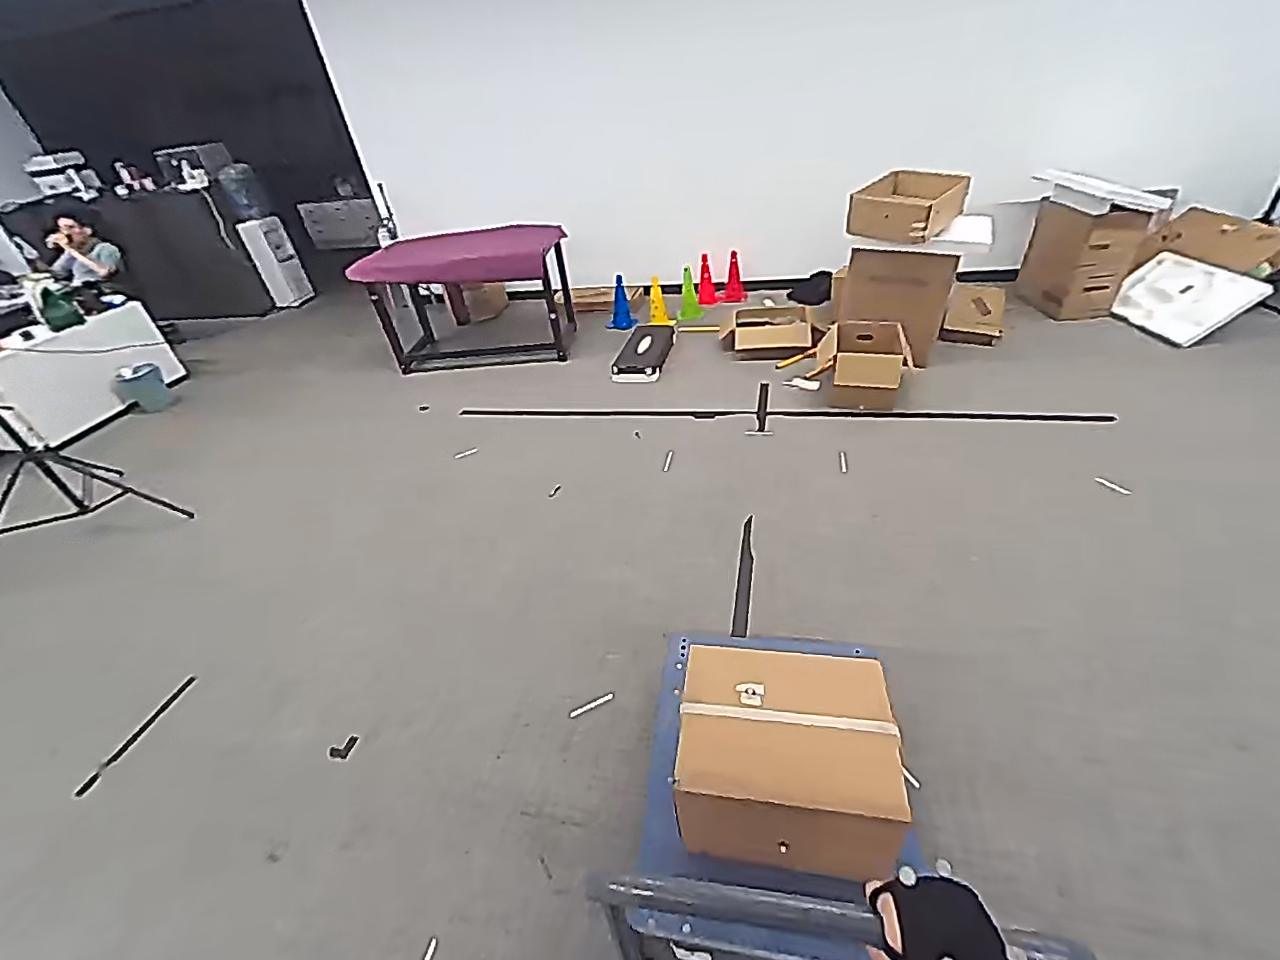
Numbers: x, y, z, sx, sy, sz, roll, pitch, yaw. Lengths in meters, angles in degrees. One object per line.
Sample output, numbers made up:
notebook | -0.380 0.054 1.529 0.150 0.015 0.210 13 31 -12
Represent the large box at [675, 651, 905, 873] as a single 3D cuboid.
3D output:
large box | 0.301 0.596 1.161 0.408 0.320 0.320 0 37 12
